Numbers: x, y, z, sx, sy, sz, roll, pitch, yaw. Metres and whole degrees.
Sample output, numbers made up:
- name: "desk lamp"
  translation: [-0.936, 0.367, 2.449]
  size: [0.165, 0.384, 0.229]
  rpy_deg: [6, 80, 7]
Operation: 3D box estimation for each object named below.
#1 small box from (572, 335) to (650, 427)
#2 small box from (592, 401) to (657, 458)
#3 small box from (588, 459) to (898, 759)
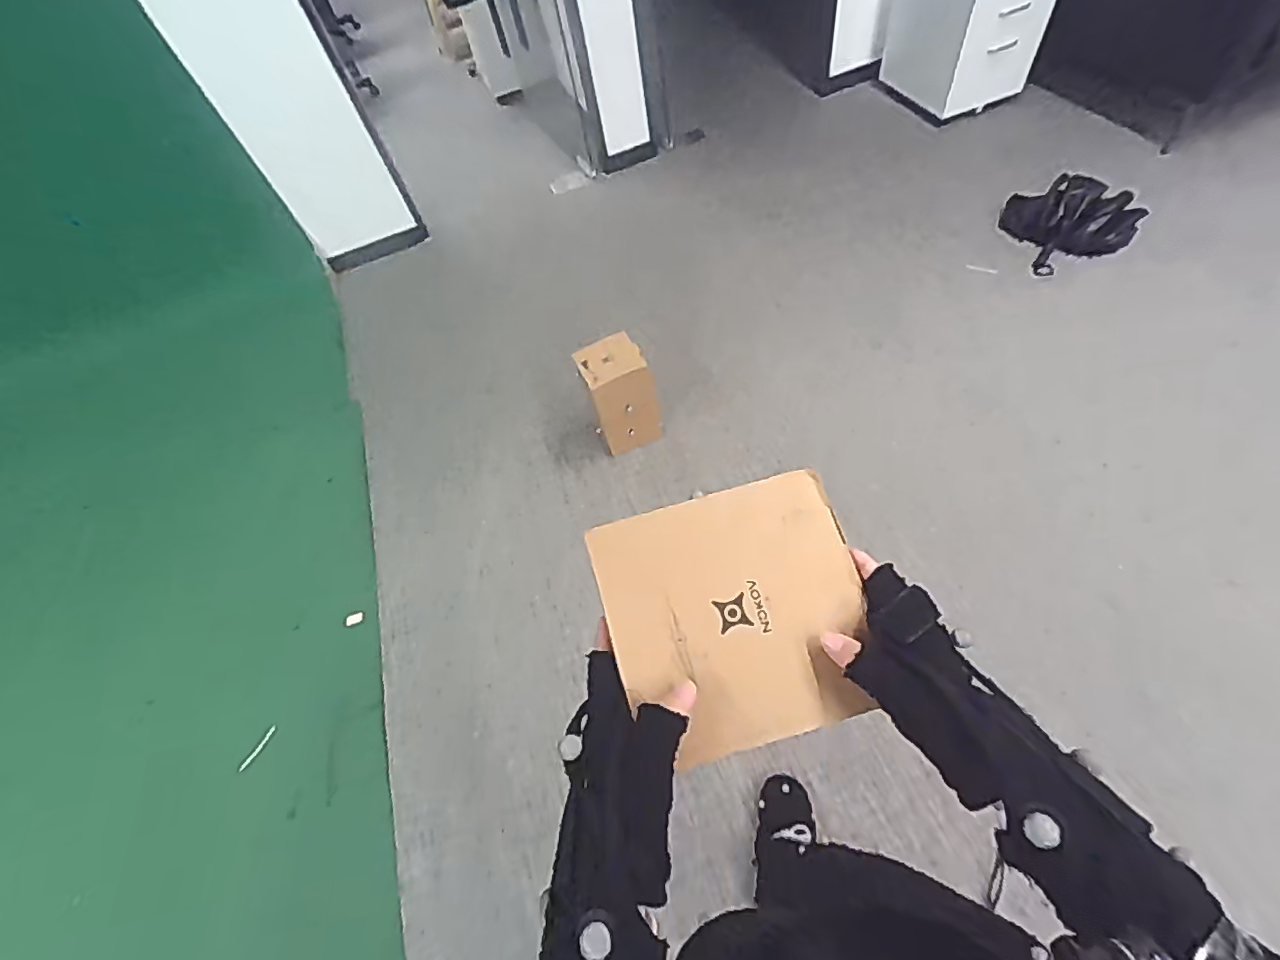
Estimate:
- name: "small box"
  translation: [-0.078, -0.288, 1.596]
  size: [0.179, 0.176, 0.168]
  rpy_deg: [-24, 57, -6]
- name: "small box"
  translation: [-0.053, -0.203, 1.734]
  size: [0.179, 0.176, 0.168]
  rpy_deg: [-23, 56, -4]
- name: "small box"
  translation: [0.068, 0.102, 0.446]
  size: [0.179, 0.176, 0.168]
  rpy_deg: [-16, 74, -3]
